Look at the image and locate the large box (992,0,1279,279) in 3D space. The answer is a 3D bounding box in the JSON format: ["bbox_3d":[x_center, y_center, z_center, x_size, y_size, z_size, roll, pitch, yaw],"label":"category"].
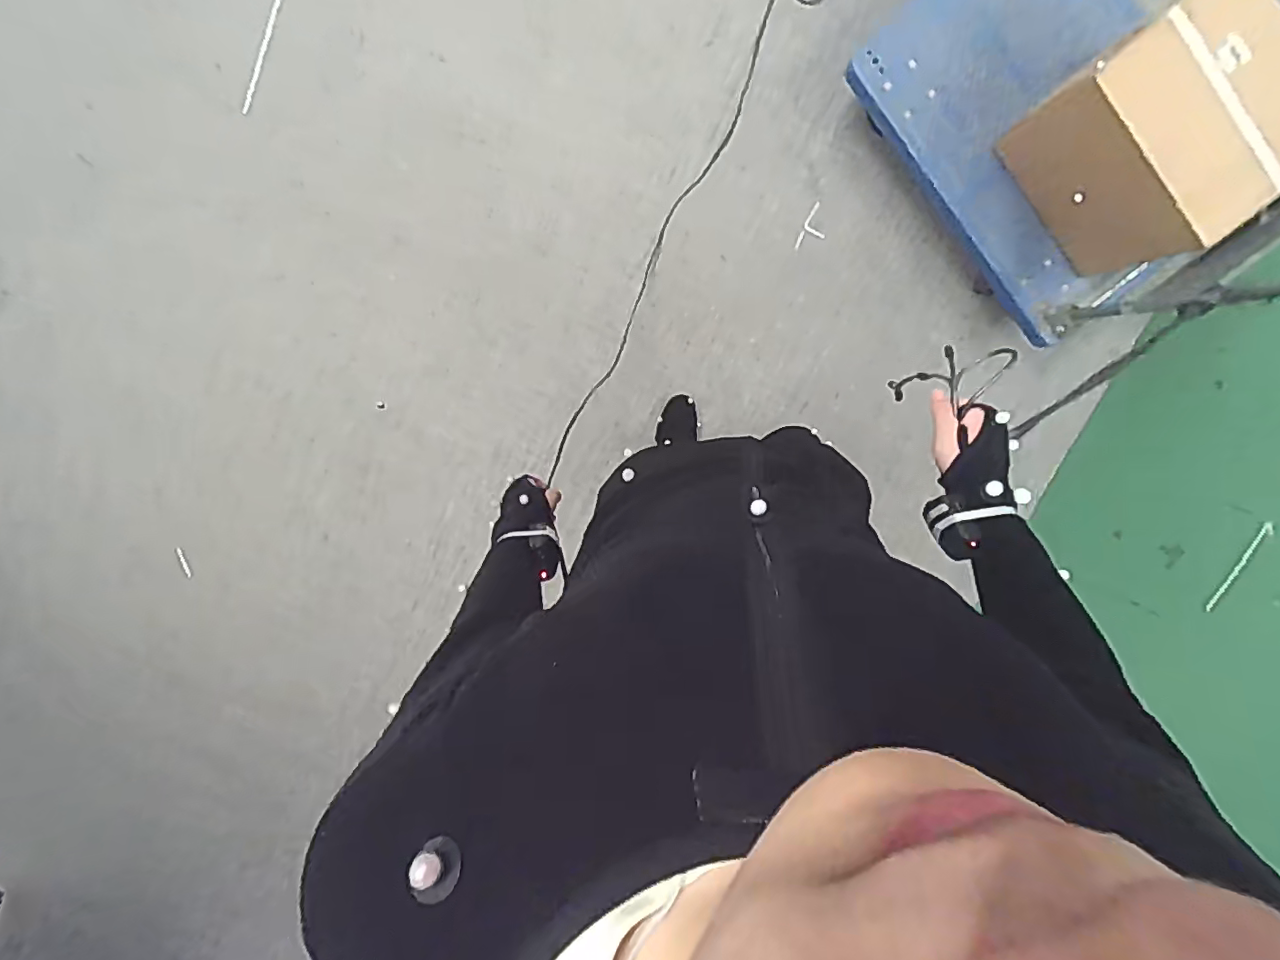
[{"bbox_3d":[1.071,-0.708,1.145,0.320,0.320,0.408,-40,96,7],"label":"large box"}]
